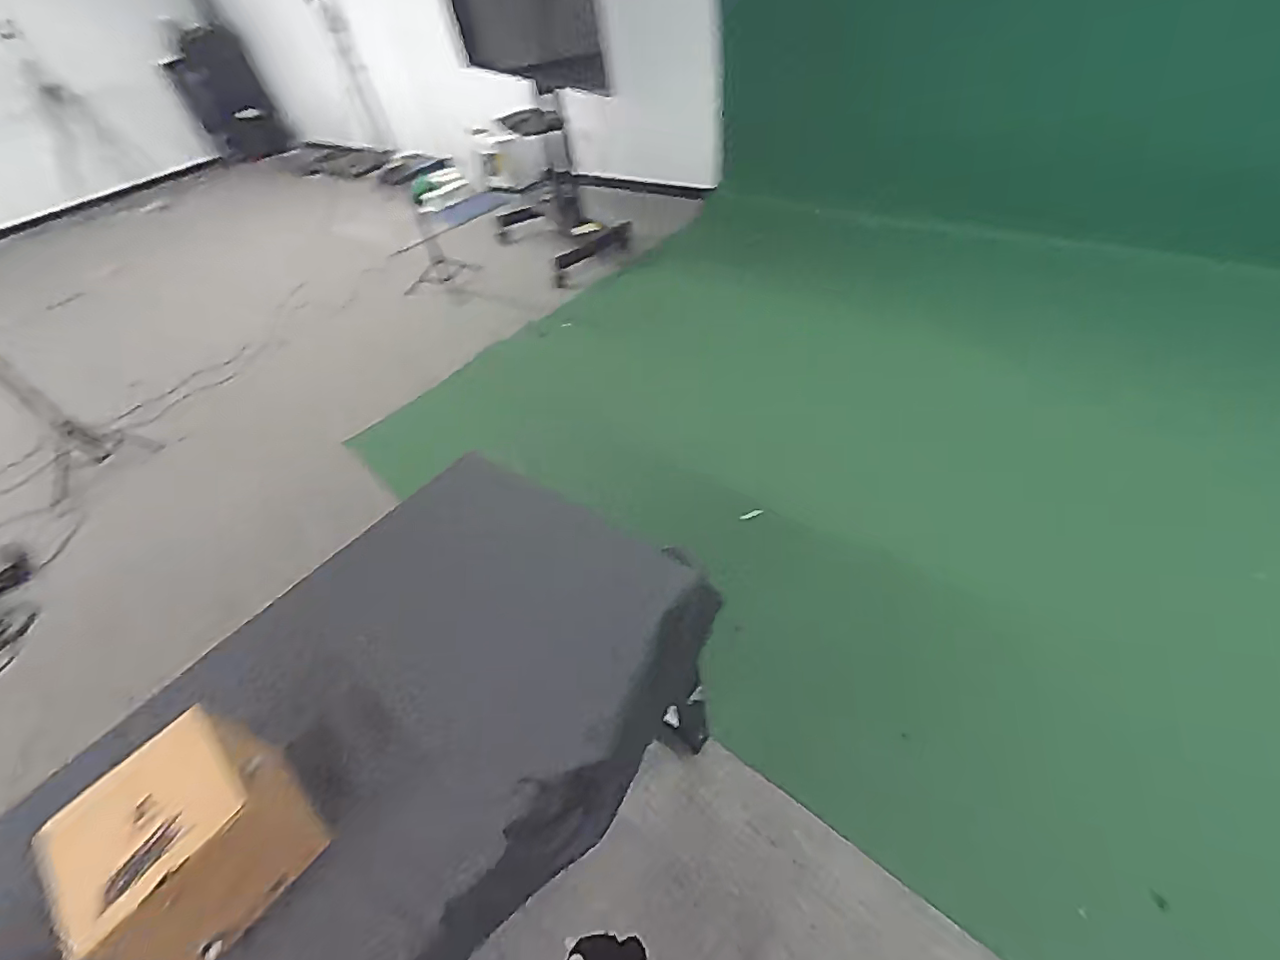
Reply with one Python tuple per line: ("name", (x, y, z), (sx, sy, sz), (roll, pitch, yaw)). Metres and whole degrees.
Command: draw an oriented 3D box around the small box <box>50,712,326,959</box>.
("small box", (-0.516, 0.420, 0.637), (0.179, 0.176, 0.168), (26, 56, 33))
